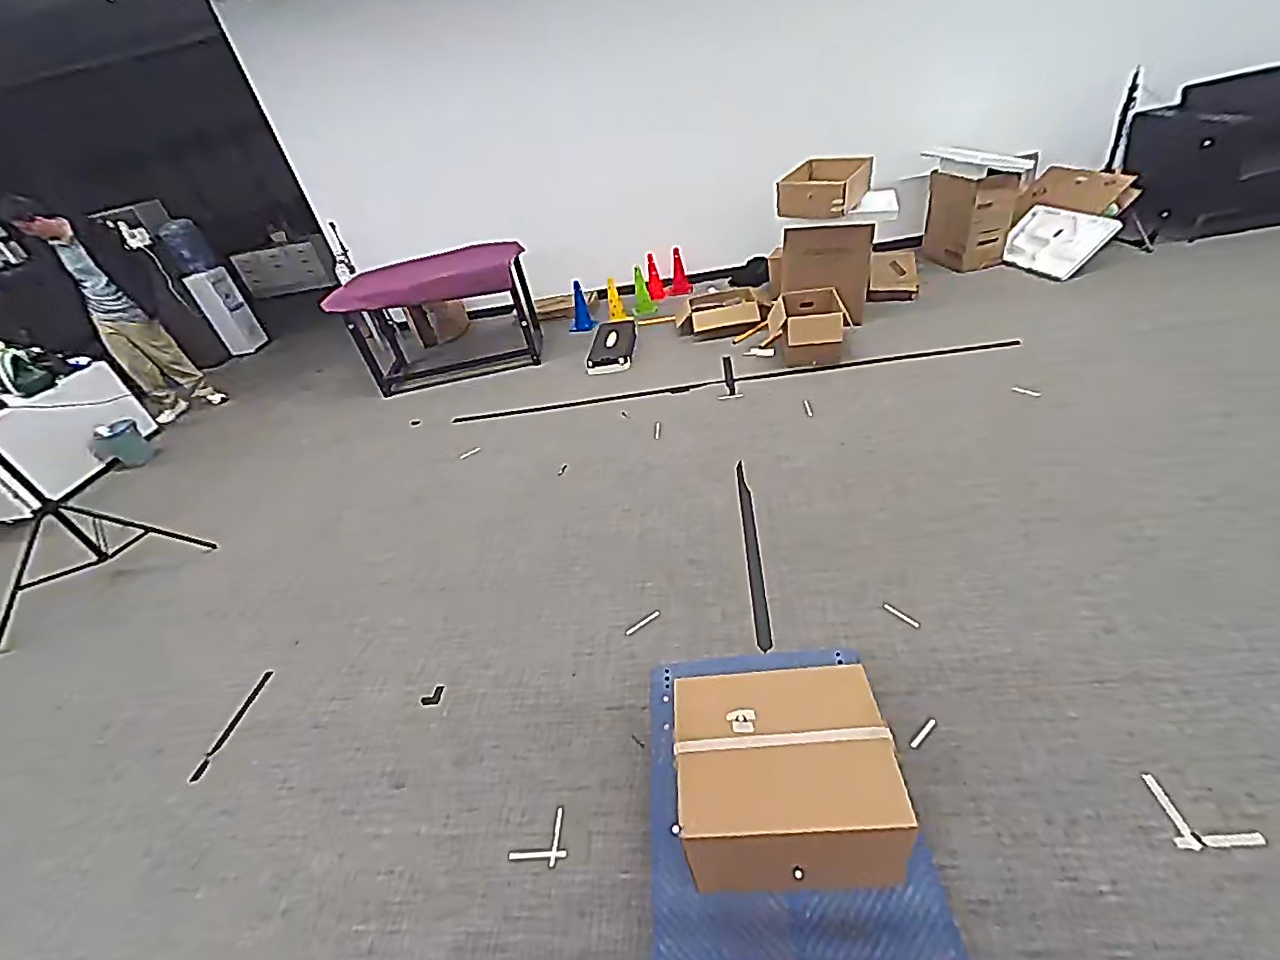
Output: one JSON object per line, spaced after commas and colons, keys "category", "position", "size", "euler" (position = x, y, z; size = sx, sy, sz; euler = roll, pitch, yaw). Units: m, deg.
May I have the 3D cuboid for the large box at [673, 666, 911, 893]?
{"category": "large box", "position": [0.298, 0.635, 1.144], "size": [0.408, 0.320, 0.320], "euler": [-9, 35, 7]}
